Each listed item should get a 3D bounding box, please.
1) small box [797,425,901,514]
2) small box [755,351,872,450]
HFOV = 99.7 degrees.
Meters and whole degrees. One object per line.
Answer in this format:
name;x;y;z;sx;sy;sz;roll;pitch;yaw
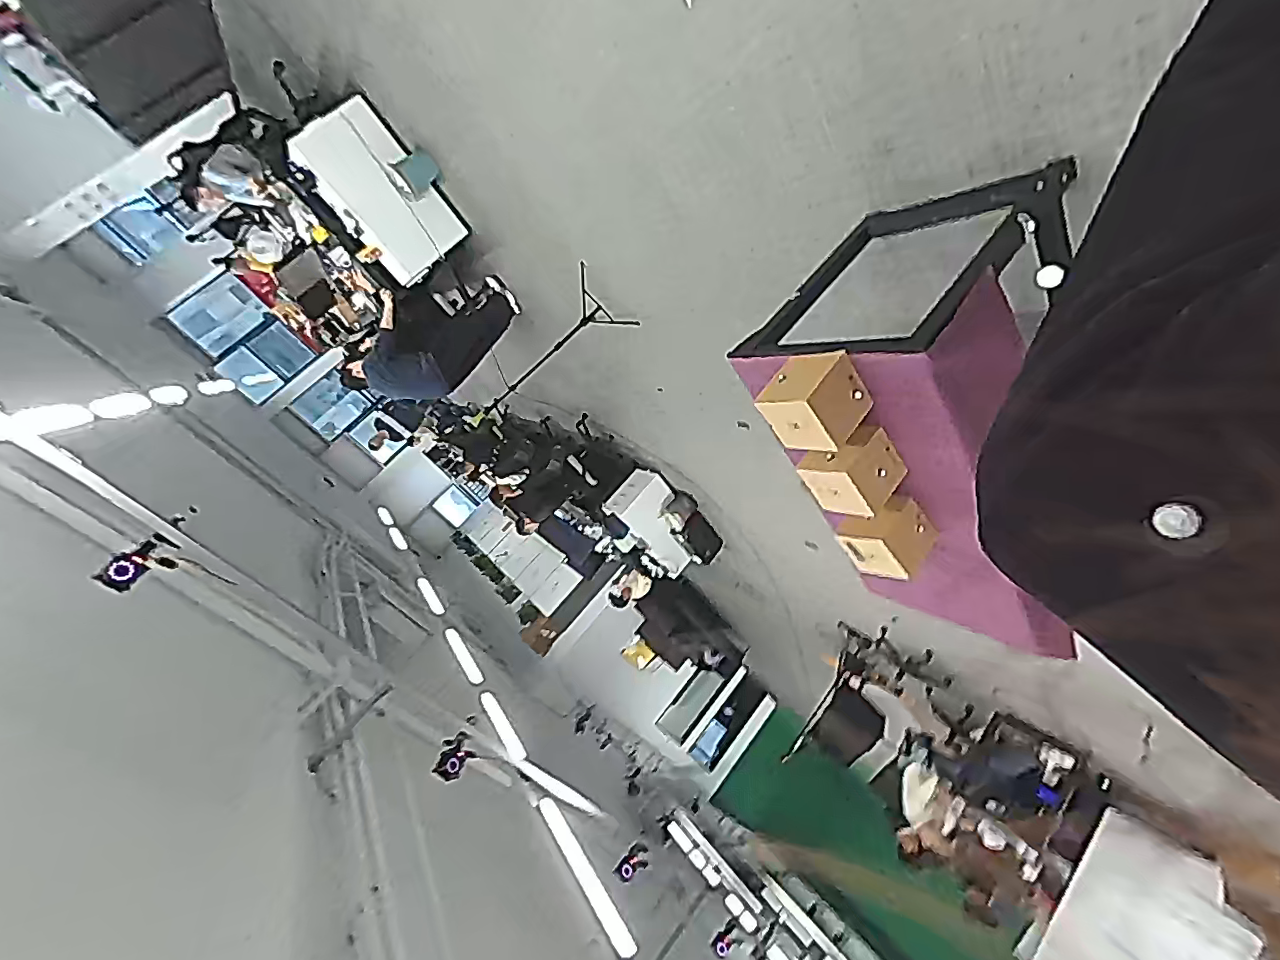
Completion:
small box;0.560;-0.035;1.433;0.168;0.176;0.179;49;164;-23
small box;0.424;-0.196;1.320;0.168;0.176;0.179;47;165;-26
